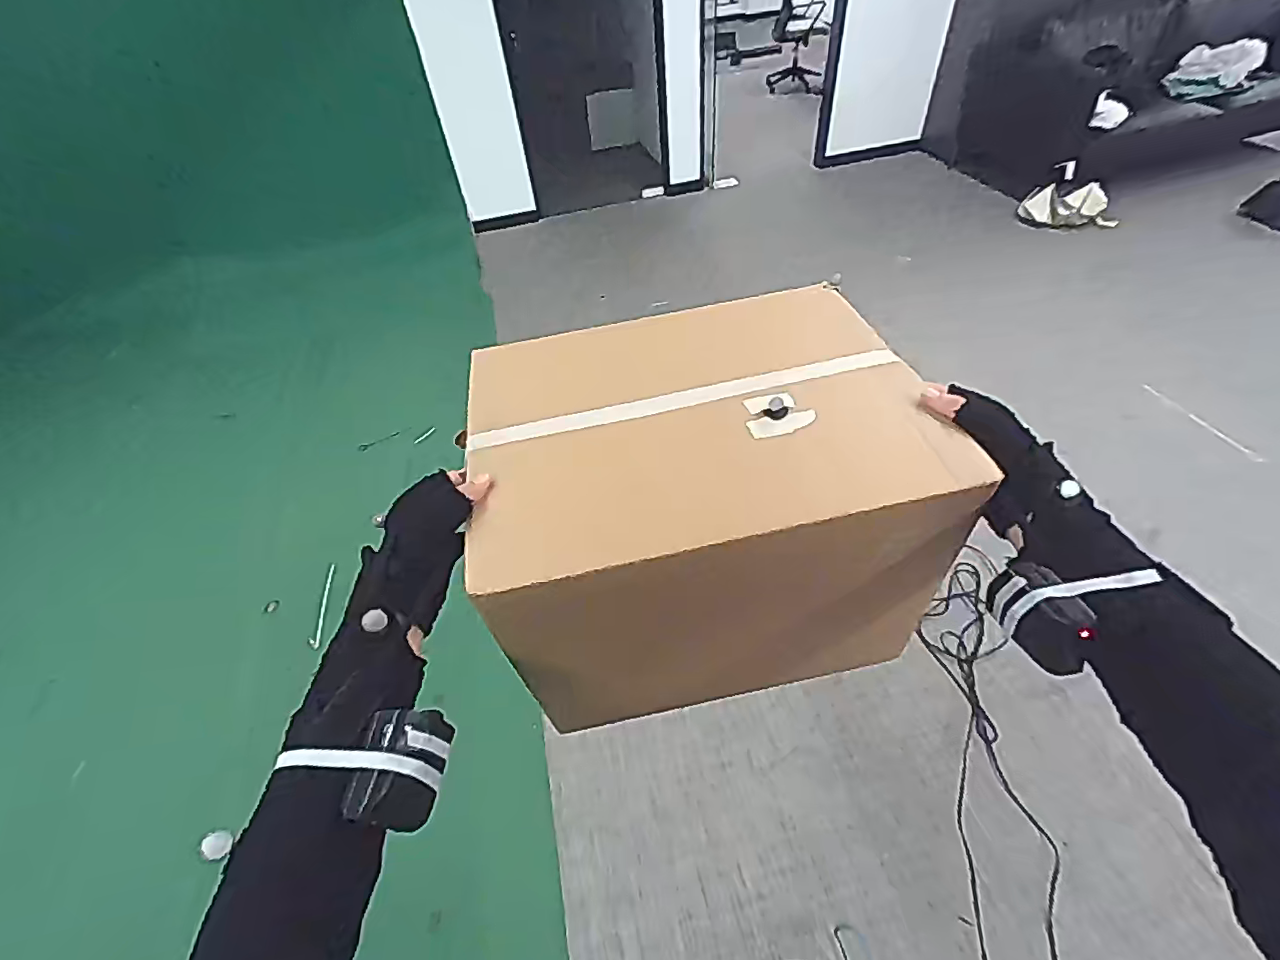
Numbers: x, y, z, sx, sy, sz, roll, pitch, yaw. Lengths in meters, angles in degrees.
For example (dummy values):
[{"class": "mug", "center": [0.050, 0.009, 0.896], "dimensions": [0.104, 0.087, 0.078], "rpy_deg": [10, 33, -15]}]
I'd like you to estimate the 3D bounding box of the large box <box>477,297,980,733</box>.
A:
[{"class": "large box", "center": [0.057, 0.039, 0.612], "dimensions": [0.408, 0.320, 0.320], "rpy_deg": [-12, 48, -3]}]
